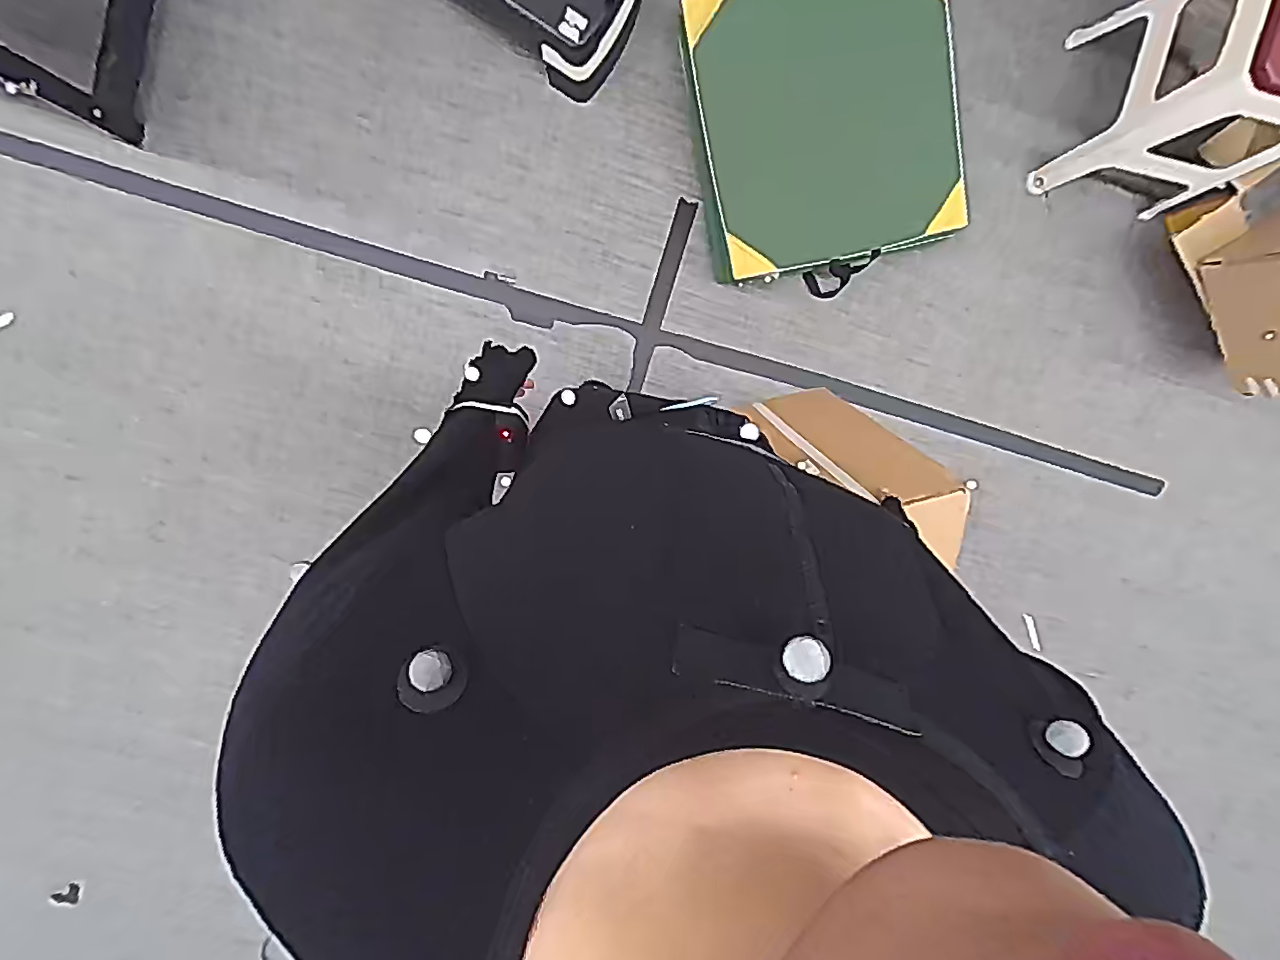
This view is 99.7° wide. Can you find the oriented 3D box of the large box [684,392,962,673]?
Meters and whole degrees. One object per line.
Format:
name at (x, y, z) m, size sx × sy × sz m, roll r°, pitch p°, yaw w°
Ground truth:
large box at (0.297, 0.075, 1.021) m, size 0.320 × 0.408 × 0.320 m, roll -14°, pitch 125°, yaw -8°
